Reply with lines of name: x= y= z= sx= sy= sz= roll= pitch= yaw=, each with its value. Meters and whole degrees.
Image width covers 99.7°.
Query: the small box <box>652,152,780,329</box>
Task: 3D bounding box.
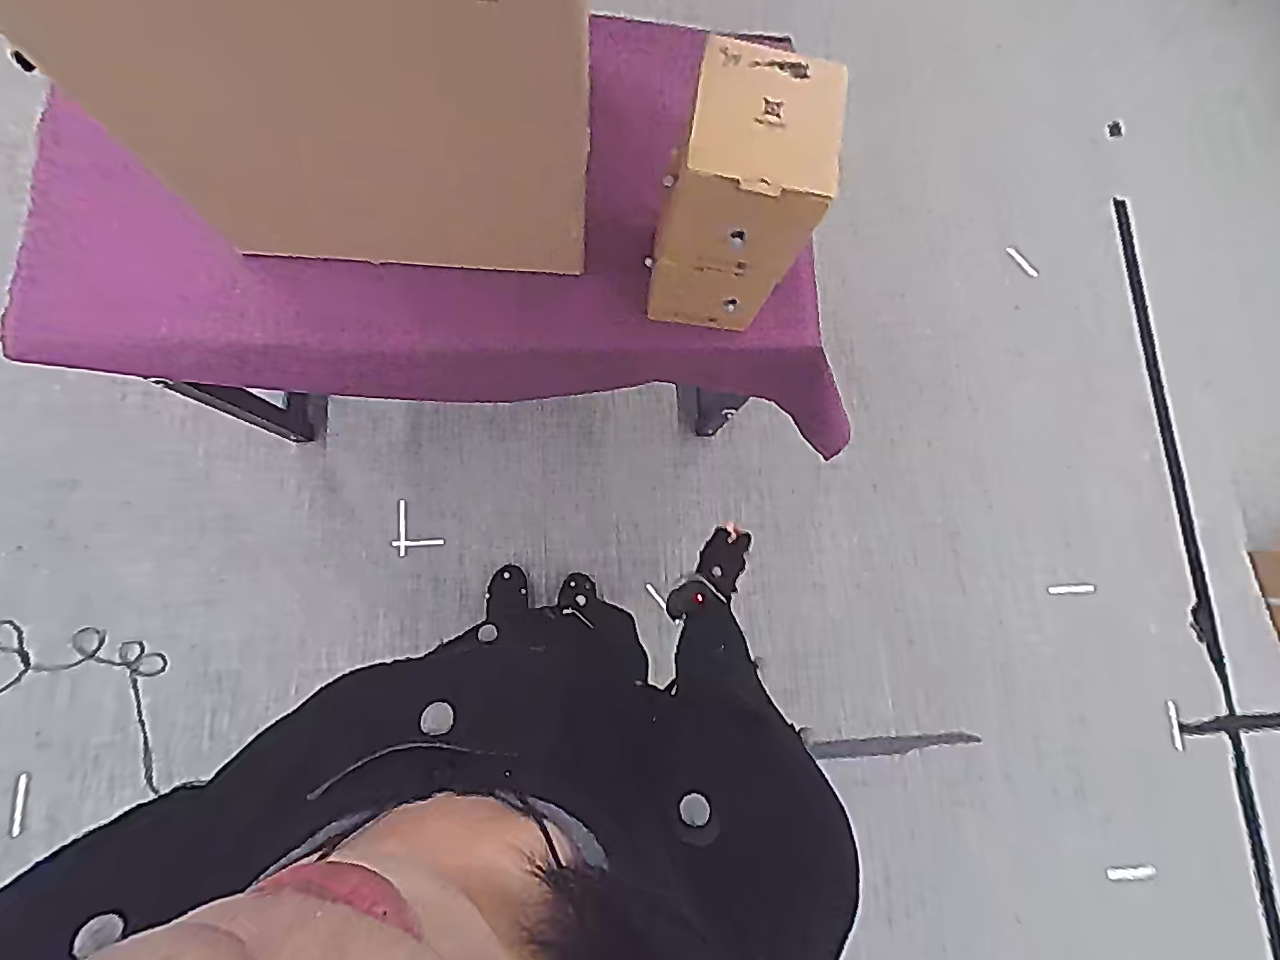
small box: x=0.113 y=-0.351 z=0.824 sx=0.168 sy=0.176 sz=0.179 roll=7 pitch=79 yaw=-5

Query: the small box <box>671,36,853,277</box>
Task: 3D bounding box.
small box: x=0.138 y=-0.379 z=0.664 sx=0.168 sy=0.176 sz=0.179 roll=10 pitch=80 yaw=-4
